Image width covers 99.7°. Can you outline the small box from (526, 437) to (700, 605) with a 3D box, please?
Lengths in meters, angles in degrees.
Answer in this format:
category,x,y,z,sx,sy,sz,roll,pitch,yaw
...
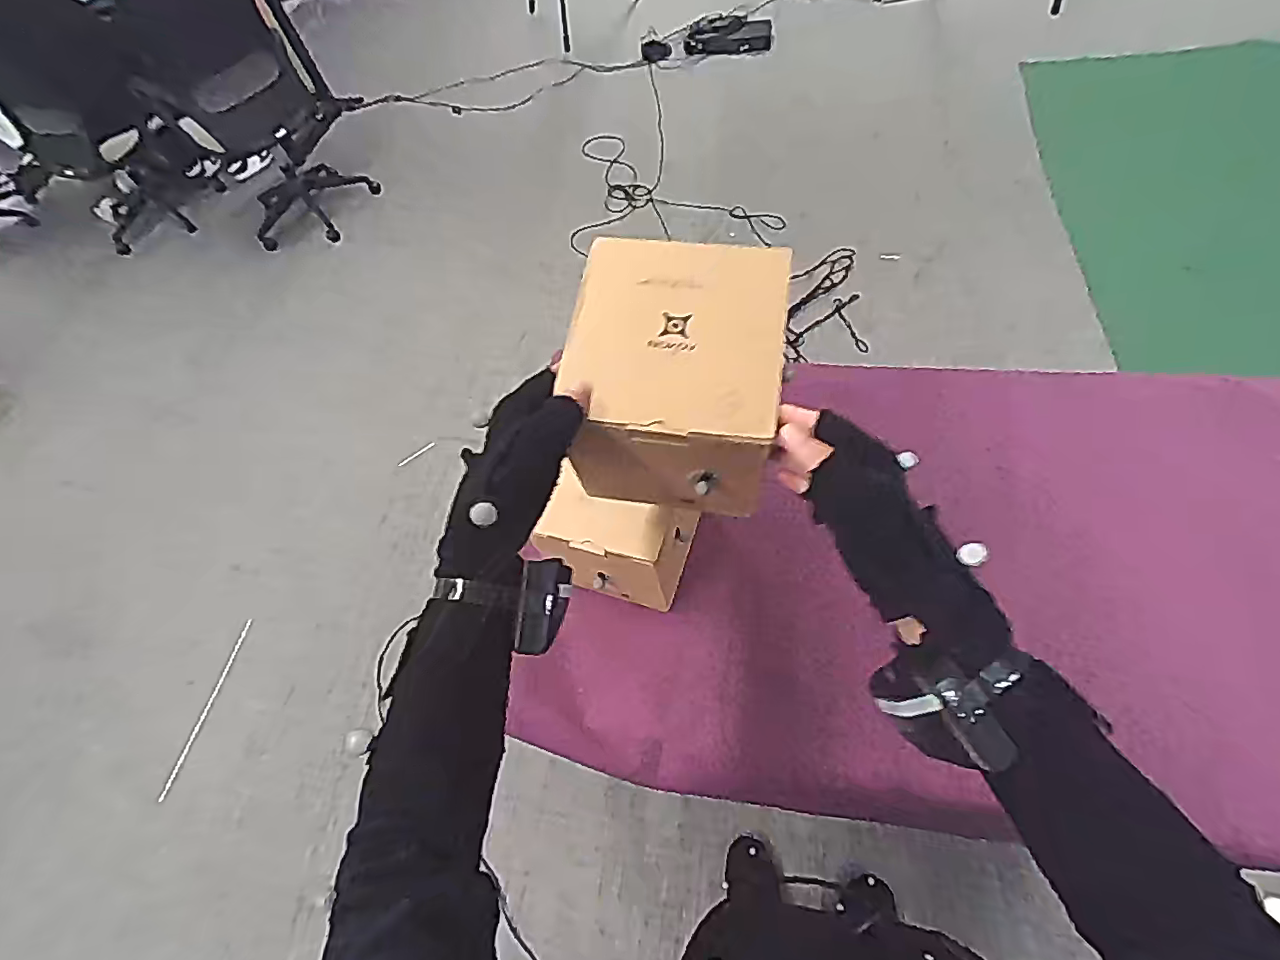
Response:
category,x,y,z,sx,sy,sz,roll,pitch,yaw
small box,-0.021,0.046,0.716,0.168,0.176,0.179,13,63,16

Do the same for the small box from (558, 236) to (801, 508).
category,x,y,z,sx,sy,sz,roll,pitch,yaw
small box,0.041,-0.086,0.484,0.168,0.176,0.179,7,70,8
